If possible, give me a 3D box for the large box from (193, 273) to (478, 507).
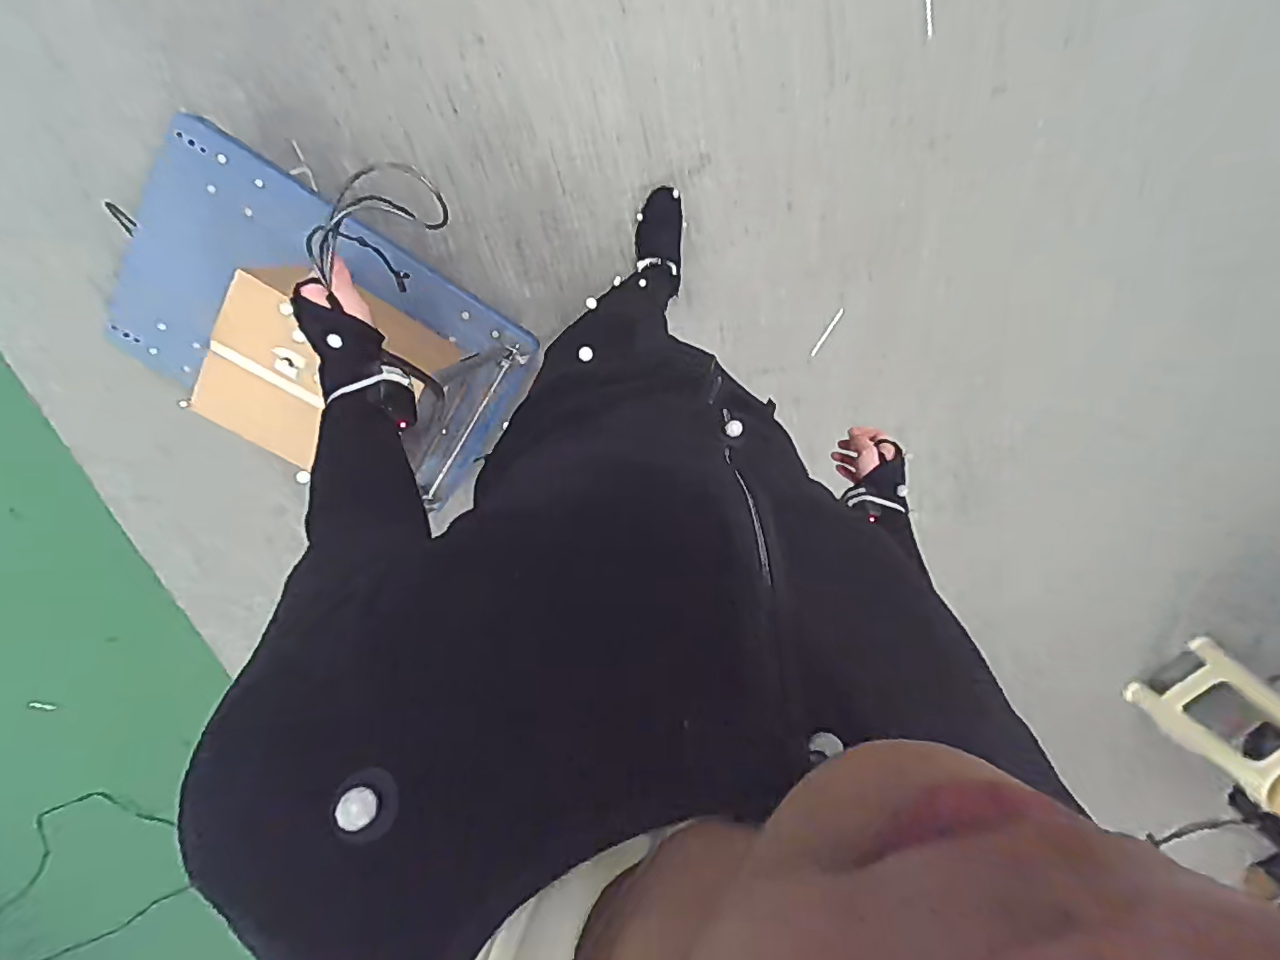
[{"bbox_3d":[-0.638,-0.210,1.199,0.408,0.320,0.320,31,107,-13],"label":"large box"}]
